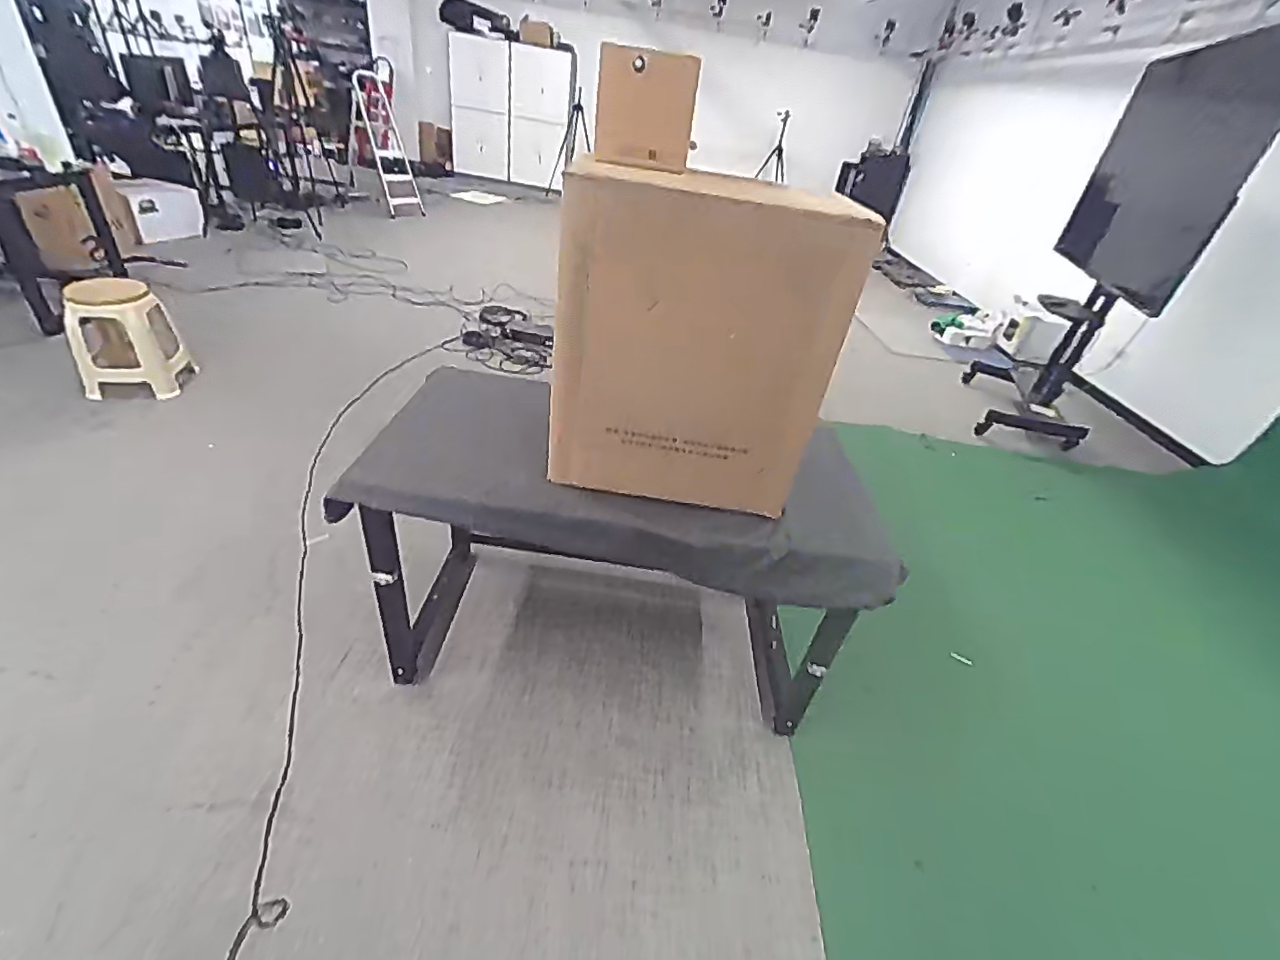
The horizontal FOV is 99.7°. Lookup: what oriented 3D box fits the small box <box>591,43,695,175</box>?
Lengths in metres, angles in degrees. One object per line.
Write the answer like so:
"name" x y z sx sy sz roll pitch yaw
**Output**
"small box" 0.004 -0.663 0.974 0.168 0.176 0.179 7 35 -1
